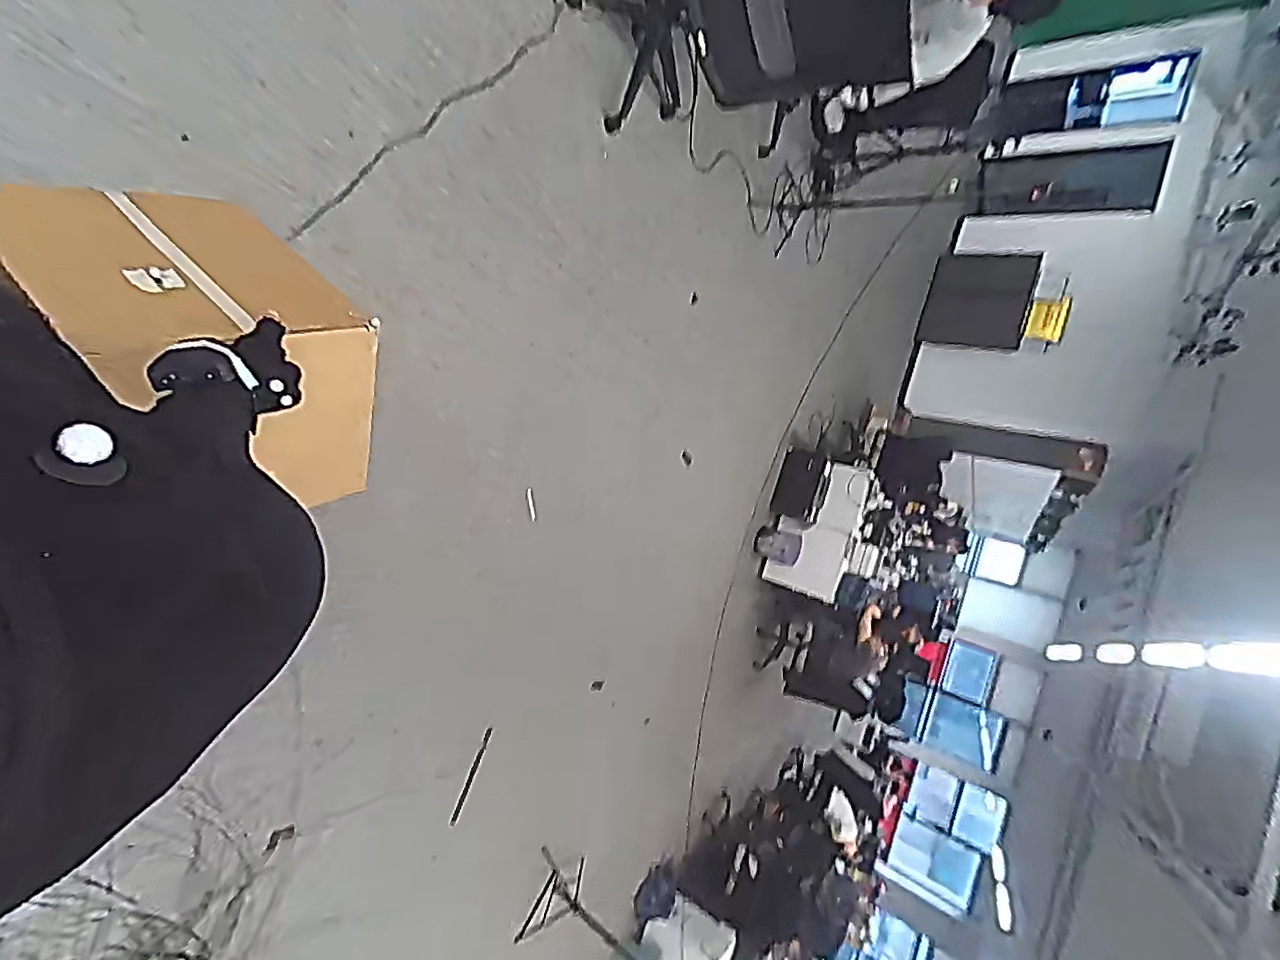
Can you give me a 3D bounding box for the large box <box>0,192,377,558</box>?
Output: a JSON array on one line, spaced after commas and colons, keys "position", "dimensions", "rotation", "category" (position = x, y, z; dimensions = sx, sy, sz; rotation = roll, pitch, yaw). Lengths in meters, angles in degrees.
[{"position": [-0.657, -0.166, 0.793], "dimensions": [0.320, 0.408, 0.320], "rotation": [-28, 152, -48], "category": "large box"}]
